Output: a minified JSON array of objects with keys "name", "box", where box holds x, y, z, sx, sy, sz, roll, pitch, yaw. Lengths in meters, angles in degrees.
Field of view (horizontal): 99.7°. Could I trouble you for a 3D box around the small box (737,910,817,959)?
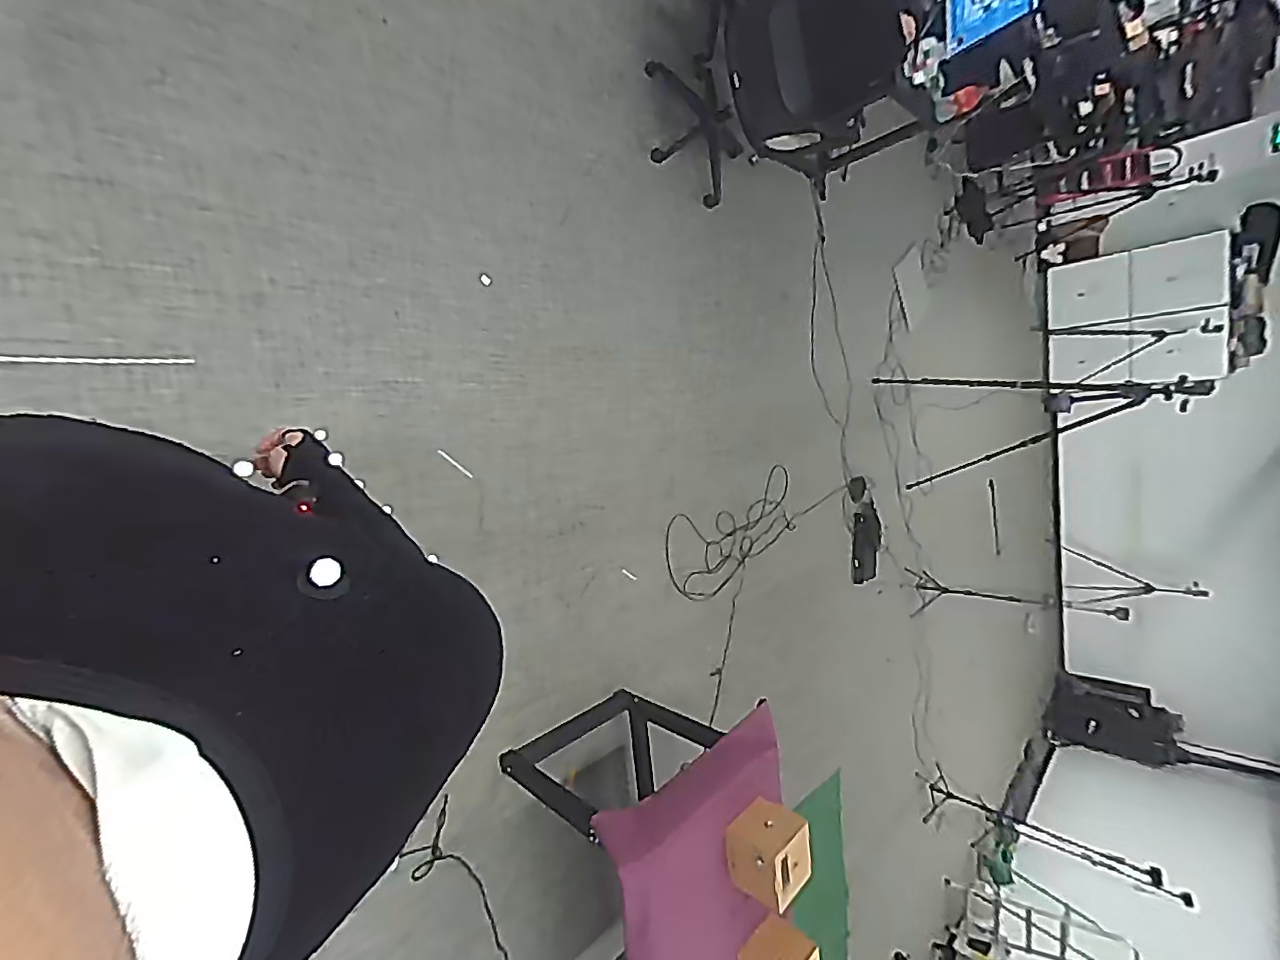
[{"name":"small box","box":[0.407,1.441,1.602,0.179,0.176,0.168,-11,98,-42]}]
